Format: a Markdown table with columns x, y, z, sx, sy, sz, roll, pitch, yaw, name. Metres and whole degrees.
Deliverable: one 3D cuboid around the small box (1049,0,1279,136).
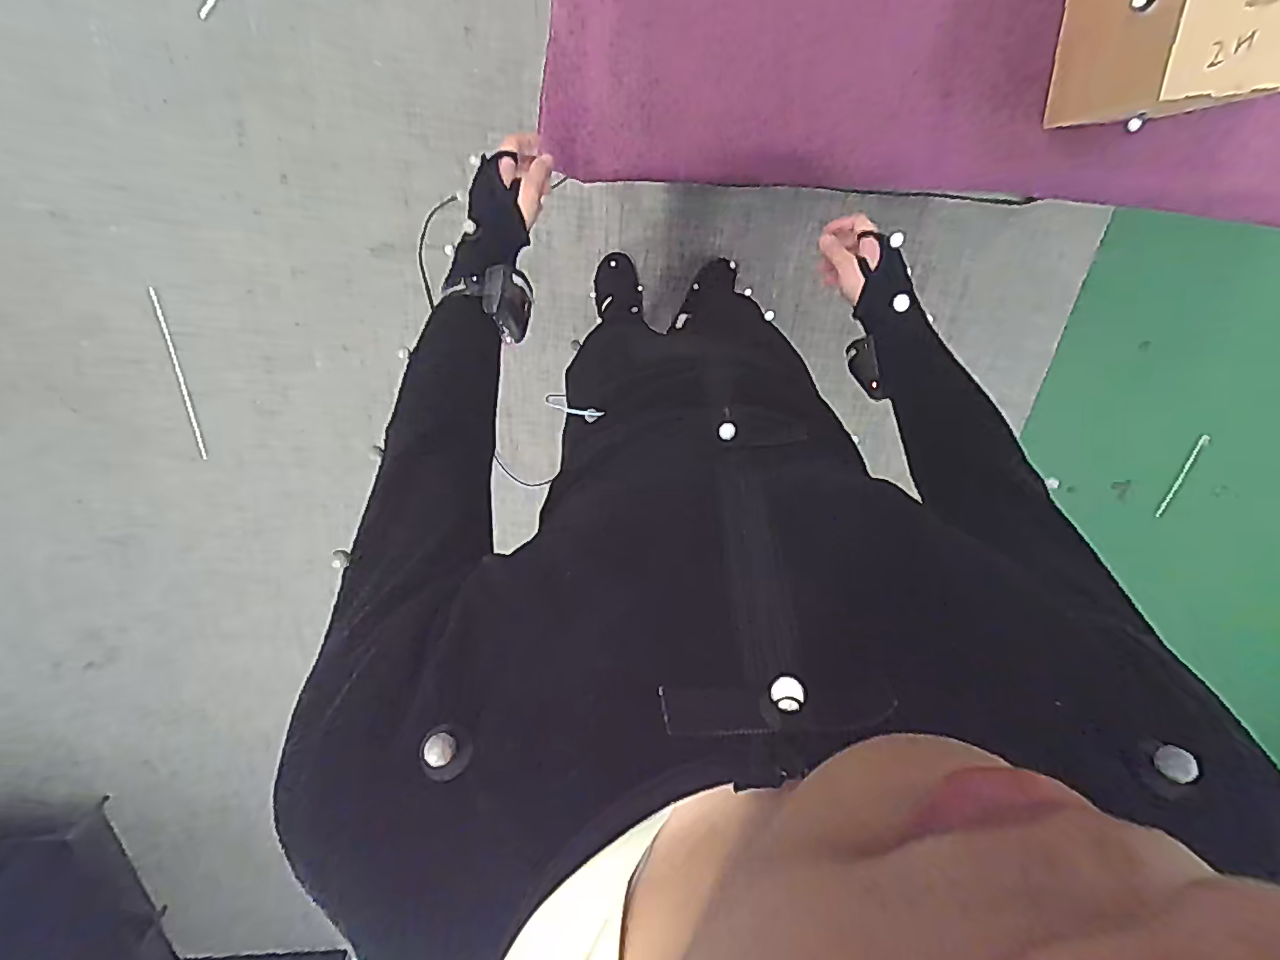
| x | y | z | sx | sy | sz | roll | pitch | yaw | name |
| --- | --- | --- | --- | --- | --- | --- | --- | --- | --- |
| 0.614 | -0.513 | 0.613 | 0.168 | 0.176 | 0.179 | -6 | 114 | -1 | small box |
